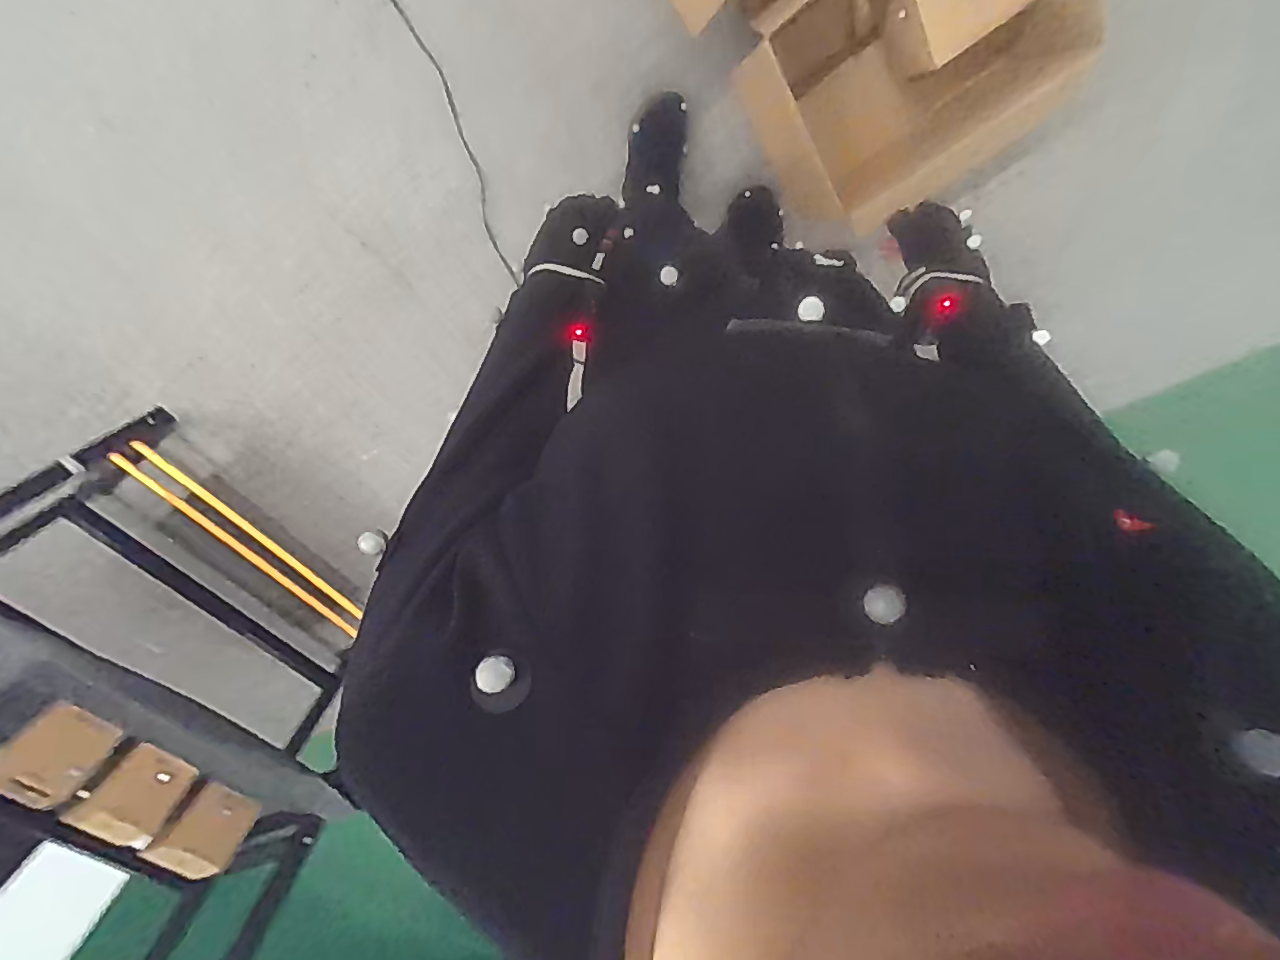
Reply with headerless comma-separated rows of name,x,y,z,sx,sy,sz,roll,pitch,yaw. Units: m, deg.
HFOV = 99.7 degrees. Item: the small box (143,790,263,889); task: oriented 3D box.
small box,-1.206,0.998,1.506,0.179,0.176,0.168,-29,116,24
